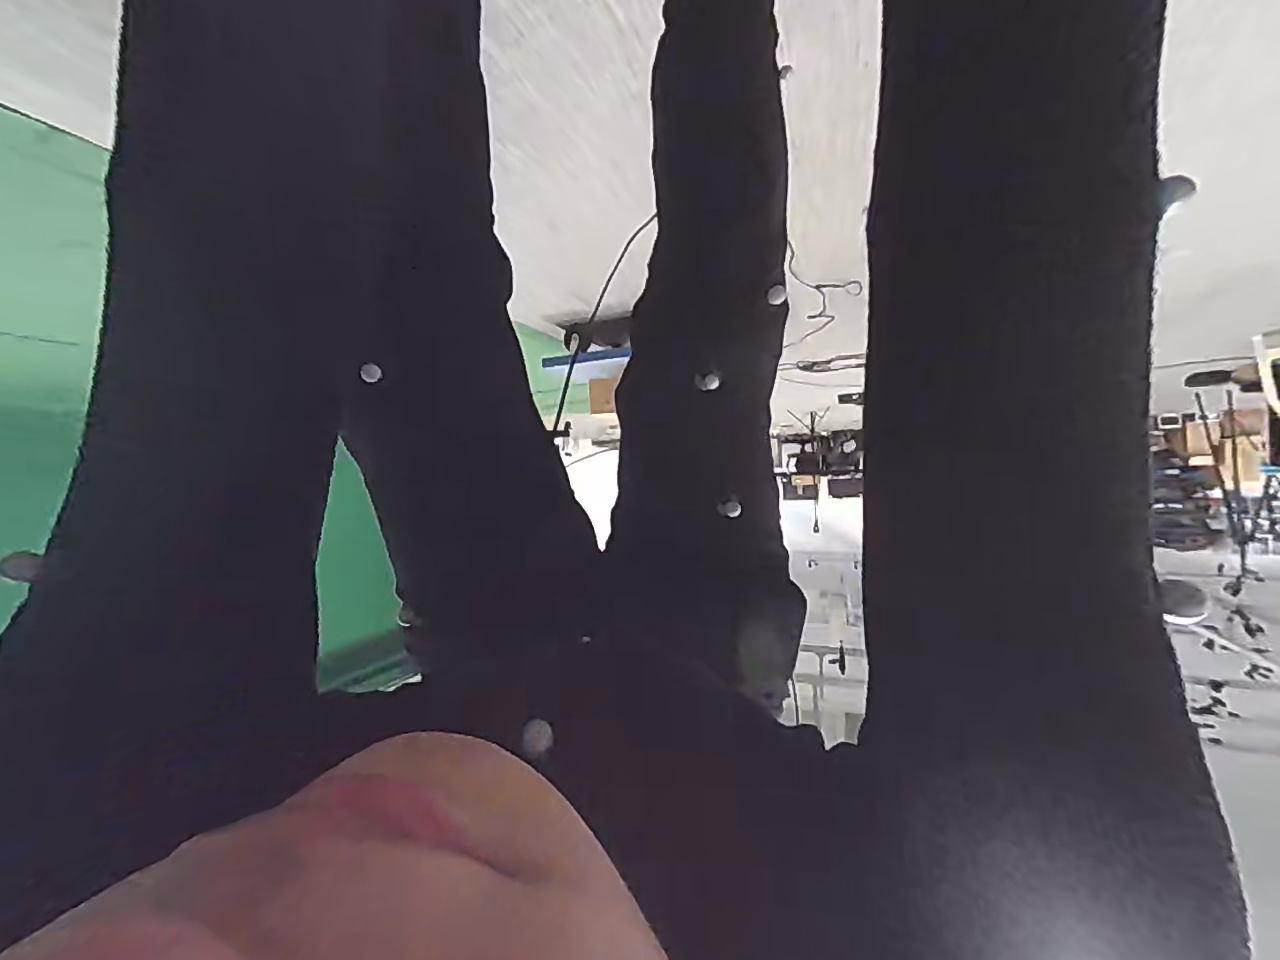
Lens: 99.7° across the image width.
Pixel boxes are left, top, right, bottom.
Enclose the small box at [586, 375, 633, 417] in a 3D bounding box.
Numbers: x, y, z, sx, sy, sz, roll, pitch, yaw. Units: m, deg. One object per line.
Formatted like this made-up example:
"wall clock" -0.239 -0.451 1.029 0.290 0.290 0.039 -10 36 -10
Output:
"small box" -0.145 -0.397 2.552 0.179 0.176 0.168 -2 179 18
